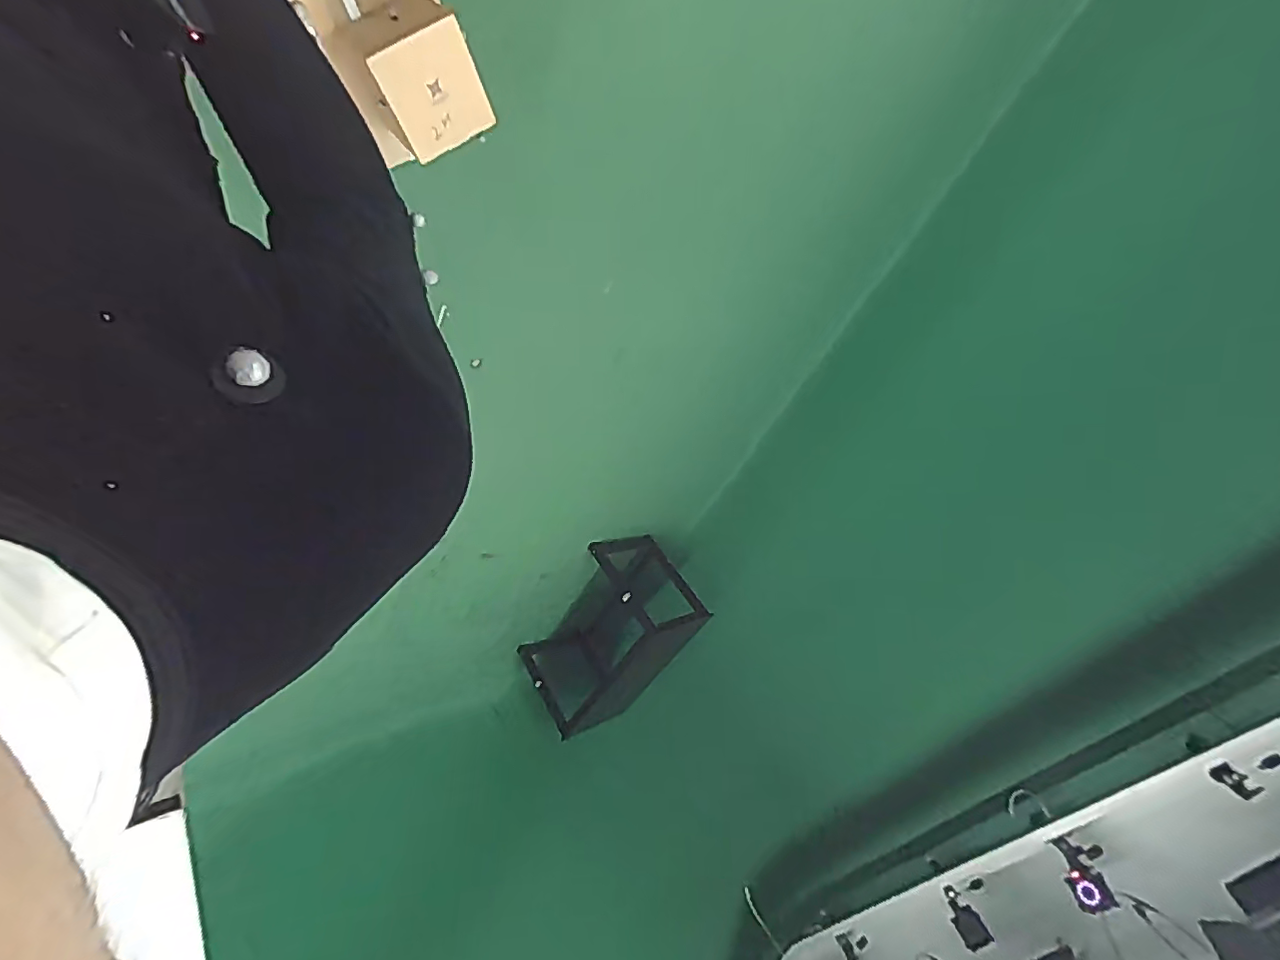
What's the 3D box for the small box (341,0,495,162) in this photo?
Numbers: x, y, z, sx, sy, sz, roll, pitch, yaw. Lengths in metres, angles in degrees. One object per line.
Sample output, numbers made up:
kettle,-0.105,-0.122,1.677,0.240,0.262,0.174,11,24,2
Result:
small box,-0.396,-0.721,0.969,0.168,0.176,0.179,-35,151,-8
